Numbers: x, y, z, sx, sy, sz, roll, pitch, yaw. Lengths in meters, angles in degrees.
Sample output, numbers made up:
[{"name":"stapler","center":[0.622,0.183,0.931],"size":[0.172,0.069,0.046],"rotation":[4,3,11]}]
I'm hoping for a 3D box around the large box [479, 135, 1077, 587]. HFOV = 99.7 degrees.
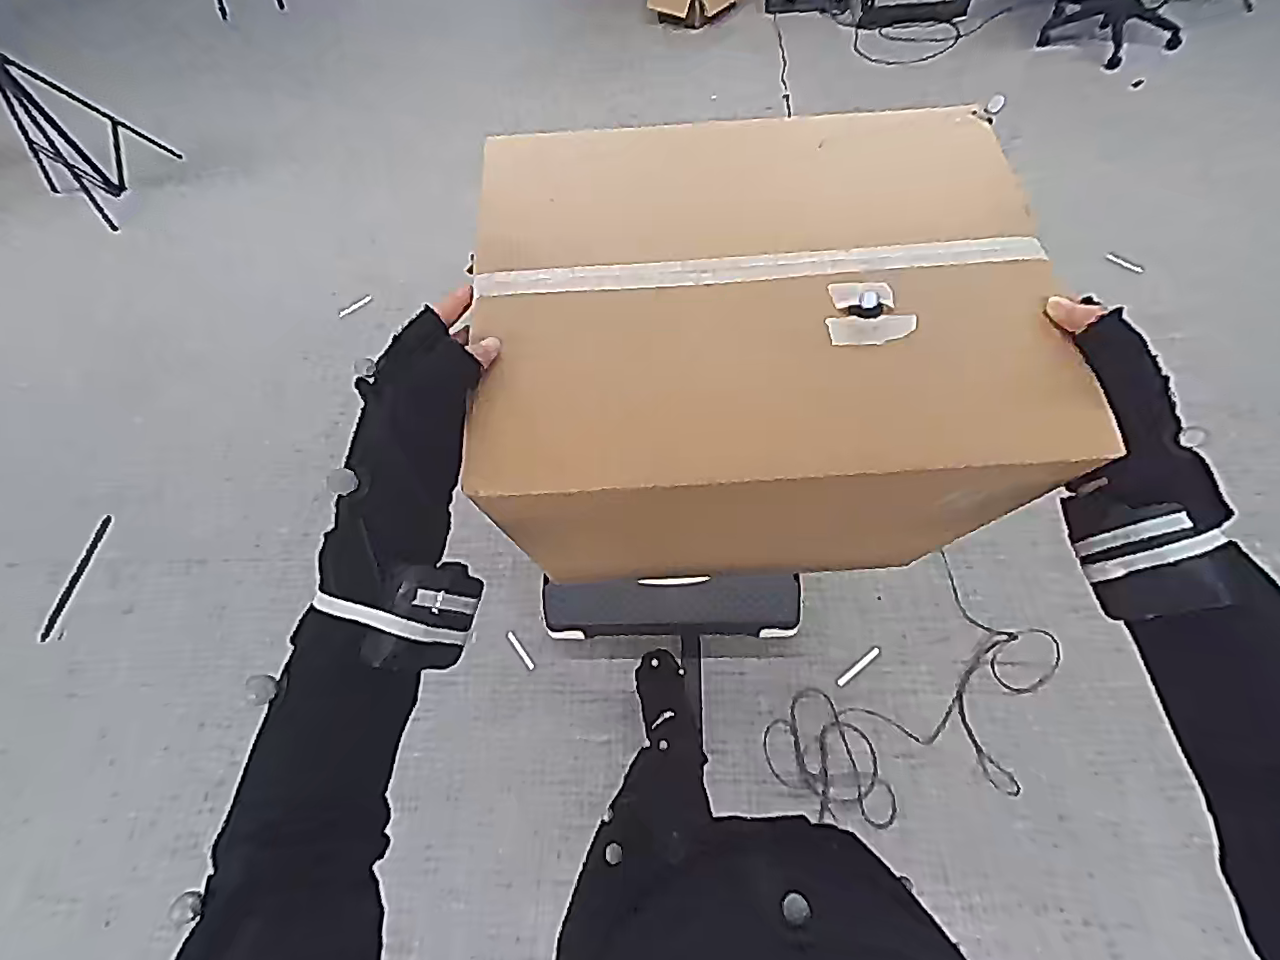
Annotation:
[{"name":"large box","center":[0.083,-0.087,0.546],"size":[0.408,0.320,0.320],"rotation":[-4,68,0]}]
